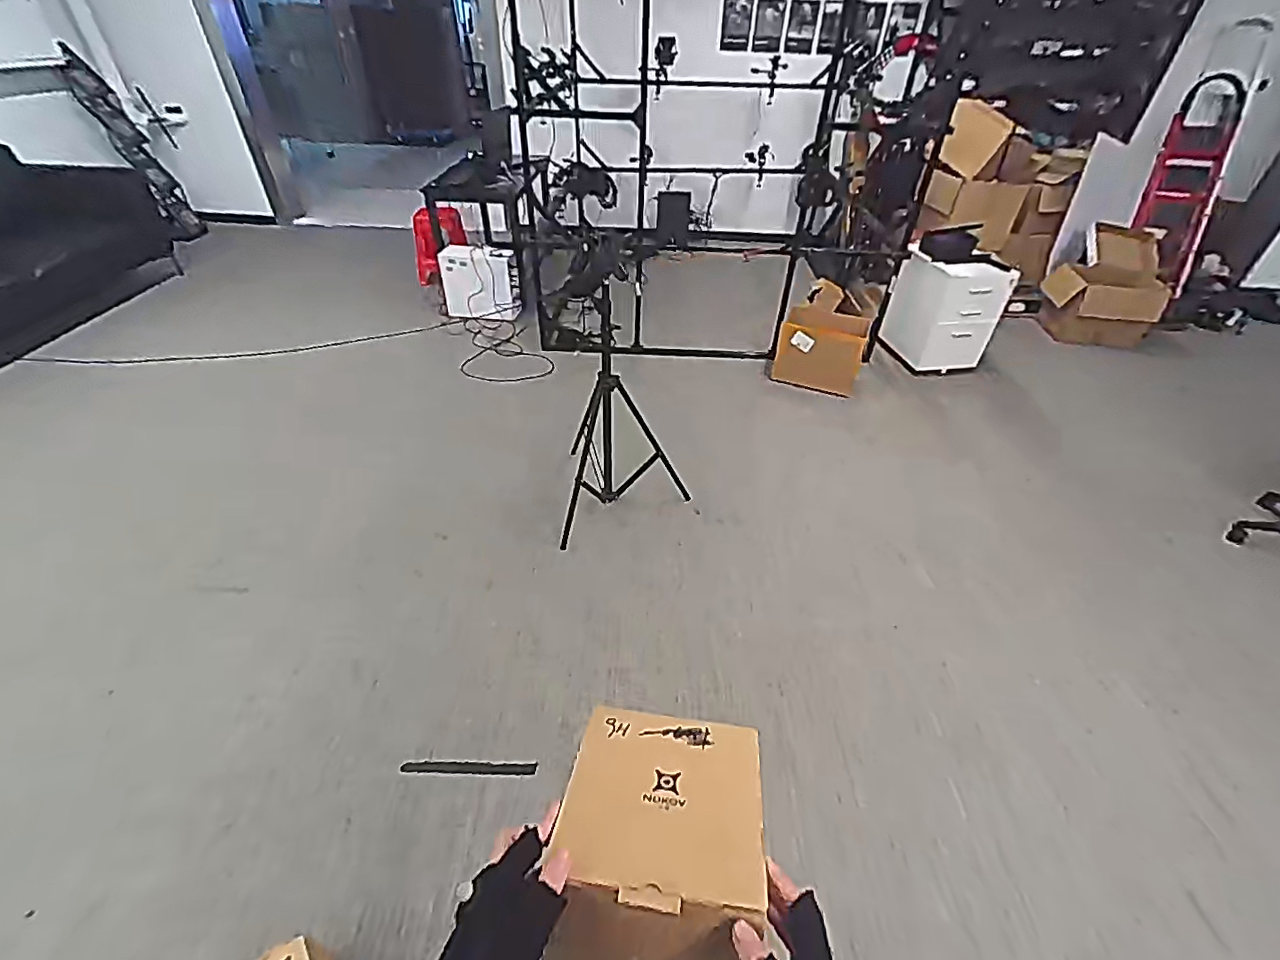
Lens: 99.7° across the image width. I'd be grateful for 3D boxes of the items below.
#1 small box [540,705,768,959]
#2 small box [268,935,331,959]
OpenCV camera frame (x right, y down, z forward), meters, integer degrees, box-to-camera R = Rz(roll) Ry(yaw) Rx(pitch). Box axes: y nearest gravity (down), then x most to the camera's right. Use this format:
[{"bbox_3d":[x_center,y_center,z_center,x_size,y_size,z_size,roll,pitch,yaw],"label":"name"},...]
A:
[{"bbox_3d":[0.019,0.338,0.483,0.168,0.176,0.179,5,20,7],"label":"small box"},{"bbox_3d":[-0.677,1.030,1.024,0.168,0.176,0.179,-25,48,-29],"label":"small box"}]
